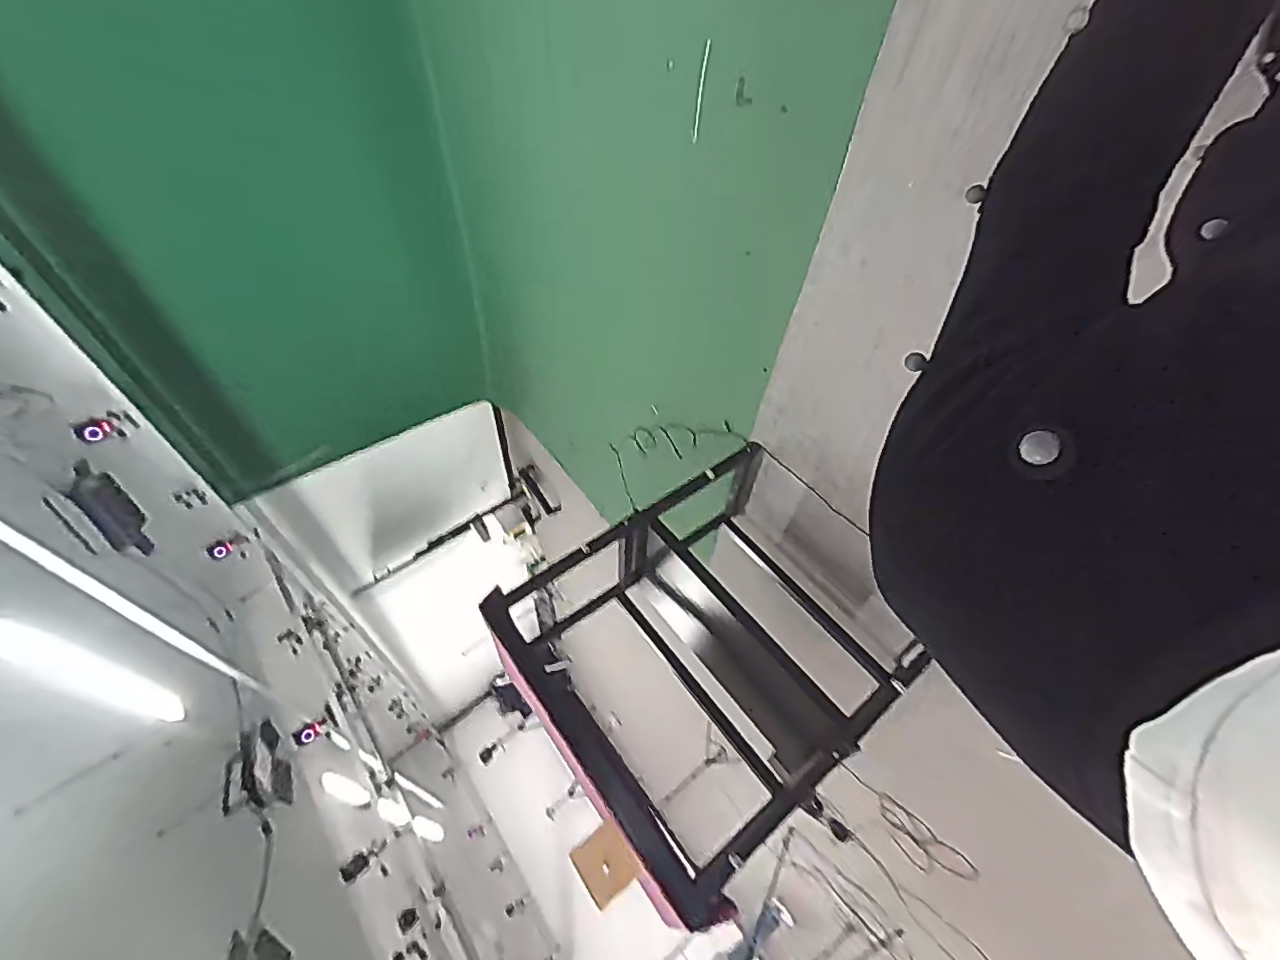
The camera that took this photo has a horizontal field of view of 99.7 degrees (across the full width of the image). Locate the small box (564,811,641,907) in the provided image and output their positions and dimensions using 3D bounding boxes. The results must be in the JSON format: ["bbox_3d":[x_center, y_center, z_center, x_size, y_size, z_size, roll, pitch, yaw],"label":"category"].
[{"bbox_3d":[-0.111,1.165,1.665,0.179,0.176,0.168,45,152,29],"label":"small box"}]
